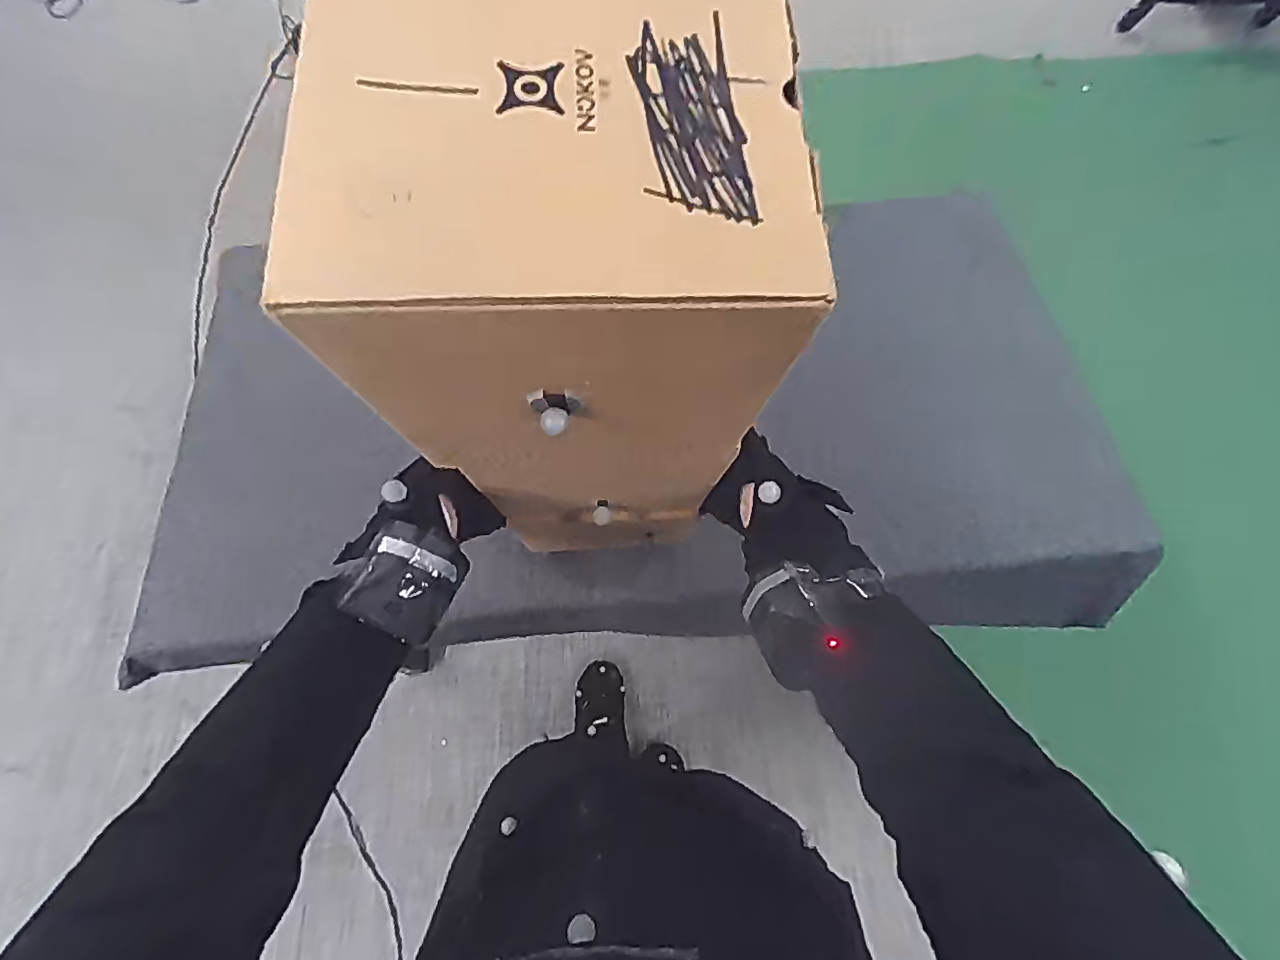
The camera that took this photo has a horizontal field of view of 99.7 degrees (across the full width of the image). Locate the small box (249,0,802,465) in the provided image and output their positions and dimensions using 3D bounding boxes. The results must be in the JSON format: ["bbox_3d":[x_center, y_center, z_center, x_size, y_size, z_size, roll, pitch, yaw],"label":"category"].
[{"bbox_3d":[-0.037,-0.111,0.268,0.179,0.176,0.168,1,73,-2],"label":"small box"}]

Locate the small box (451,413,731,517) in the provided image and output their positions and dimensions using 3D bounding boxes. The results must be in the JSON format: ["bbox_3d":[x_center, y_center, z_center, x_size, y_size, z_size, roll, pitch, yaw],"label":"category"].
[{"bbox_3d":[-0.038,-0.069,0.429,0.179,0.176,0.168,-2,73,-4],"label":"small box"}]

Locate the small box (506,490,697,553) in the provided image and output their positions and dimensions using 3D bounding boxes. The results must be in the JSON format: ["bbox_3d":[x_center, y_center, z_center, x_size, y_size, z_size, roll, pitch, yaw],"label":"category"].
[{"bbox_3d":[-0.042,-0.017,0.585,0.179,0.176,0.168,-4,74,-2],"label":"small box"}]
